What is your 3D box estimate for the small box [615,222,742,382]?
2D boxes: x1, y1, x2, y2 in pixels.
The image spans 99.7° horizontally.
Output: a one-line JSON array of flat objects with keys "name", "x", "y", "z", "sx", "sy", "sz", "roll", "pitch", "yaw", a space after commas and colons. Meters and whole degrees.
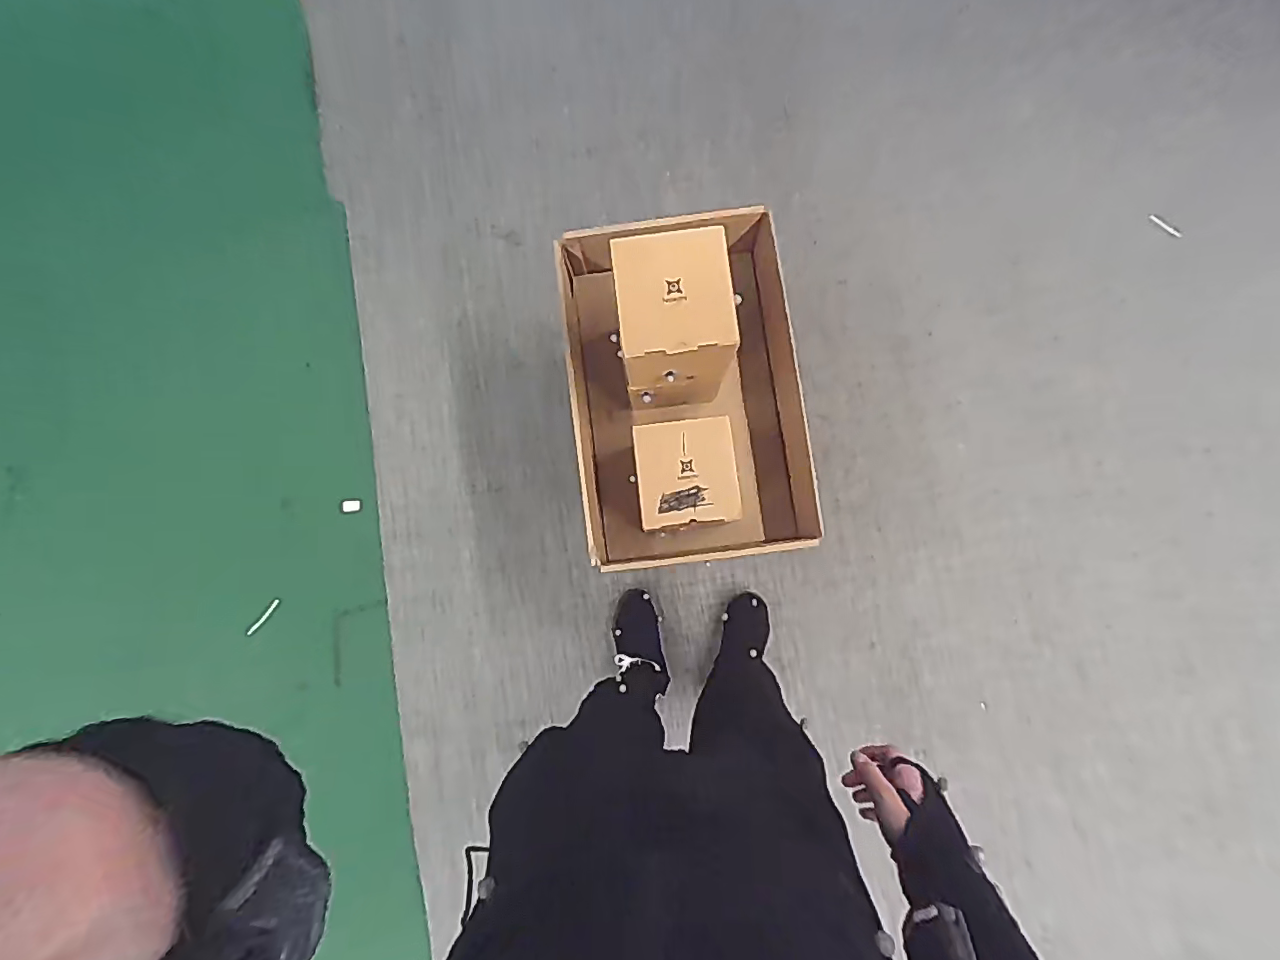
[{"name": "small box", "x": 0.053, "y": -0.265, "z": 0.838, "sx": 0.168, "sy": 0.176, "sz": 0.179, "roll": -7, "pitch": 85, "yaw": 1}]

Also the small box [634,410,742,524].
[{"name": "small box", "x": 0.082, "y": -0.014, "z": 0.968, "sx": 0.168, "sy": 0.176, "sz": 0.179, "roll": -6, "pitch": 82, "yaw": 1}]
